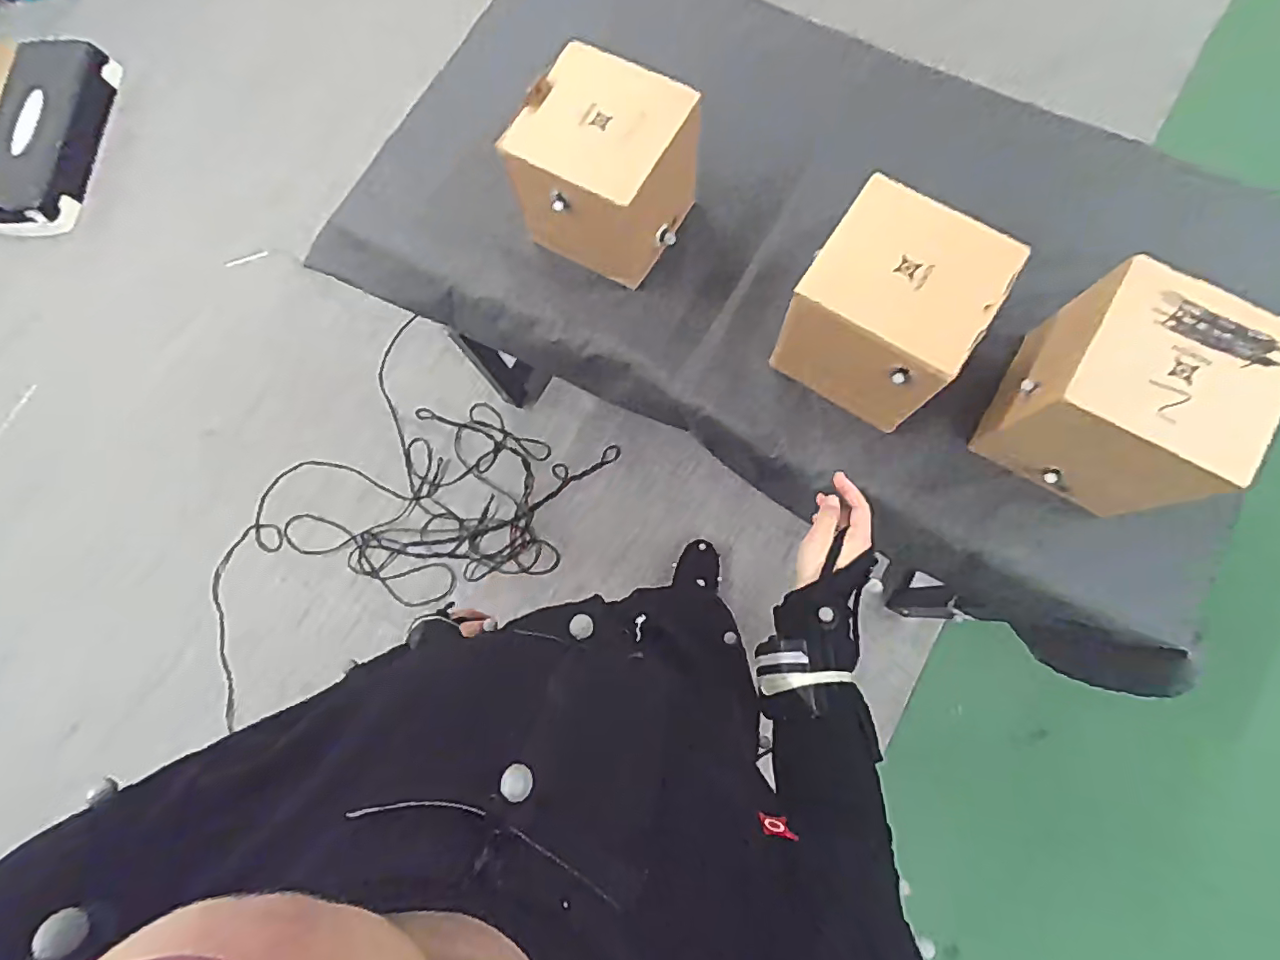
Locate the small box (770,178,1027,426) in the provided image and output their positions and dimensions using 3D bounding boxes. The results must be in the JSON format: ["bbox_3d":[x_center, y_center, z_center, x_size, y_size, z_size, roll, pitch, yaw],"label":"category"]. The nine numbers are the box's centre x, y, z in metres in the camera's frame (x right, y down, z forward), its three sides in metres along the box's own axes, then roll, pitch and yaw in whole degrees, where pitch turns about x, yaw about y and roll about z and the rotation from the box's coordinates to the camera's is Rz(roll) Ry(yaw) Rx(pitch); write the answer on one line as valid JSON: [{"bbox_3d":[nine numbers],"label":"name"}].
[{"bbox_3d":[0.269,-0.185,0.610,0.179,0.176,0.168,33,80,9],"label":"small box"}]

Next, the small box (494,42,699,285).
[{"bbox_3d":[-0.045,-0.377,0.672,0.179,0.176,0.168,29,81,8],"label":"small box"}]
